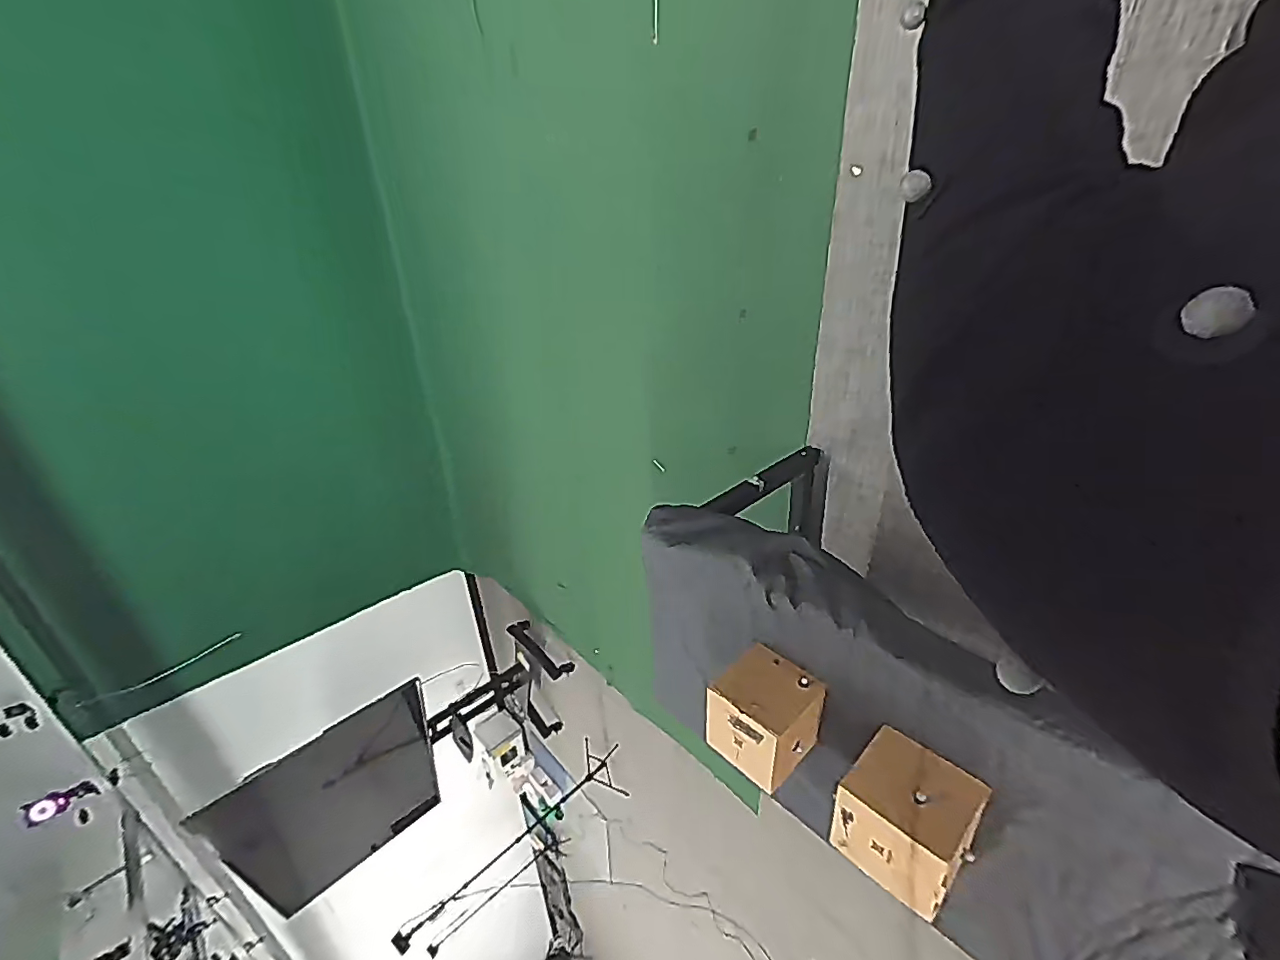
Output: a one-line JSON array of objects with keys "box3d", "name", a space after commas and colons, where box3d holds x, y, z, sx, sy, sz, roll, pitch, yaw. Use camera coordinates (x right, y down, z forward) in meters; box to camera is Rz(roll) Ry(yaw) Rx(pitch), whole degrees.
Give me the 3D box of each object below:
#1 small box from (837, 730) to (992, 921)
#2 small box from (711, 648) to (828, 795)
[{"box3d": [0.459, 0.563, 0.908, 0.179, 0.176, 0.168, 22, 126, 42], "name": "small box"}, {"box3d": [0.262, 0.477, 1.096, 0.168, 0.176, 0.179, 25, 129, 41], "name": "small box"}]
